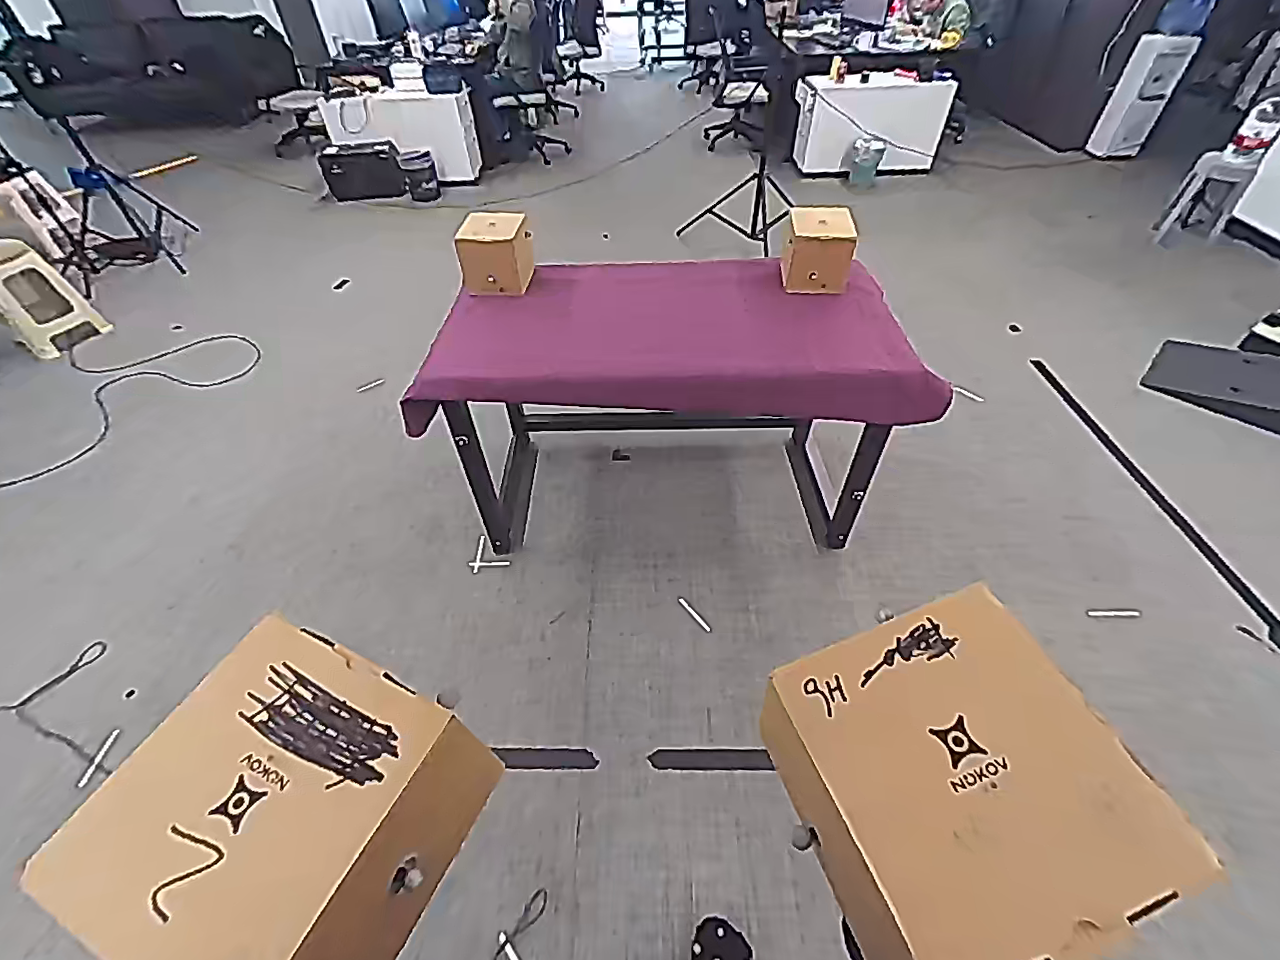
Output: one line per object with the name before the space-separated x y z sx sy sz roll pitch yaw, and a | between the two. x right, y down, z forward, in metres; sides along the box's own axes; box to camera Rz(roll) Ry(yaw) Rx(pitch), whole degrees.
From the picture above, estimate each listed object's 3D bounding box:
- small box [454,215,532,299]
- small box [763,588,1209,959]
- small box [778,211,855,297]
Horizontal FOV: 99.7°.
small box | -0.418 -0.649 1.575 0.168 0.176 0.179 2 49 4
small box | 0.201 0.211 0.383 0.168 0.176 0.179 -20 54 -7
small box | 0.498 -0.649 1.554 0.168 0.176 0.179 2 51 4
